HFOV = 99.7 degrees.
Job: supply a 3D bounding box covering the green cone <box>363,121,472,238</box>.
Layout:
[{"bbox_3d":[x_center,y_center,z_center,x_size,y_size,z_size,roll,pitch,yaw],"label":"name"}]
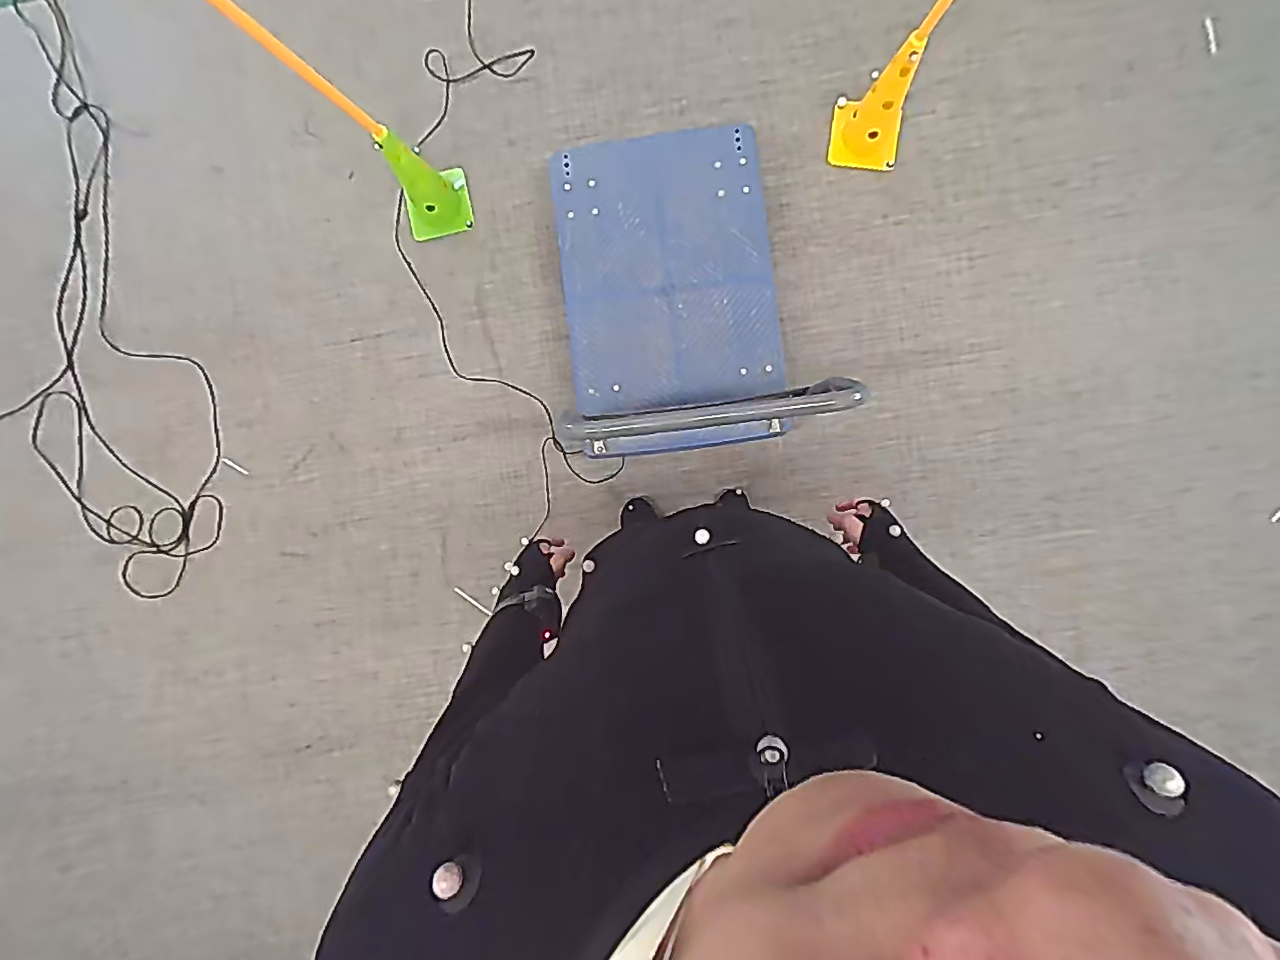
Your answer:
[{"bbox_3d":[-0.648,-0.873,1.514,0.202,0.368,0.200,-13,88,4],"label":"green cone"}]
